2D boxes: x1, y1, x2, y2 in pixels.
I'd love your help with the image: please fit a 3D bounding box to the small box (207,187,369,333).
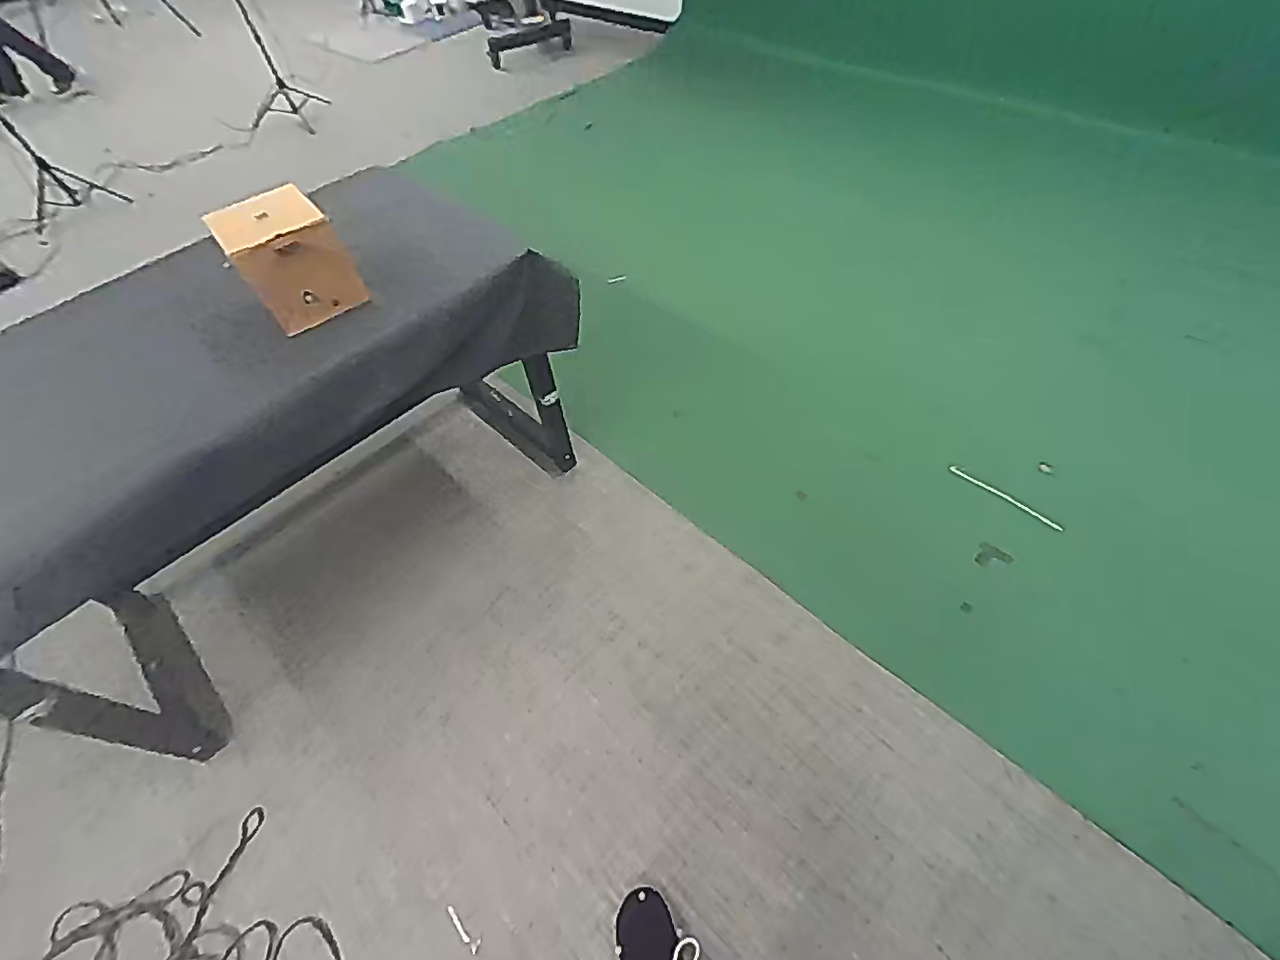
[{"bbox_3d":[-0.641,-0.403,0.999,0.168,0.176,0.179,-36,59,-20],"label":"small box"}]
